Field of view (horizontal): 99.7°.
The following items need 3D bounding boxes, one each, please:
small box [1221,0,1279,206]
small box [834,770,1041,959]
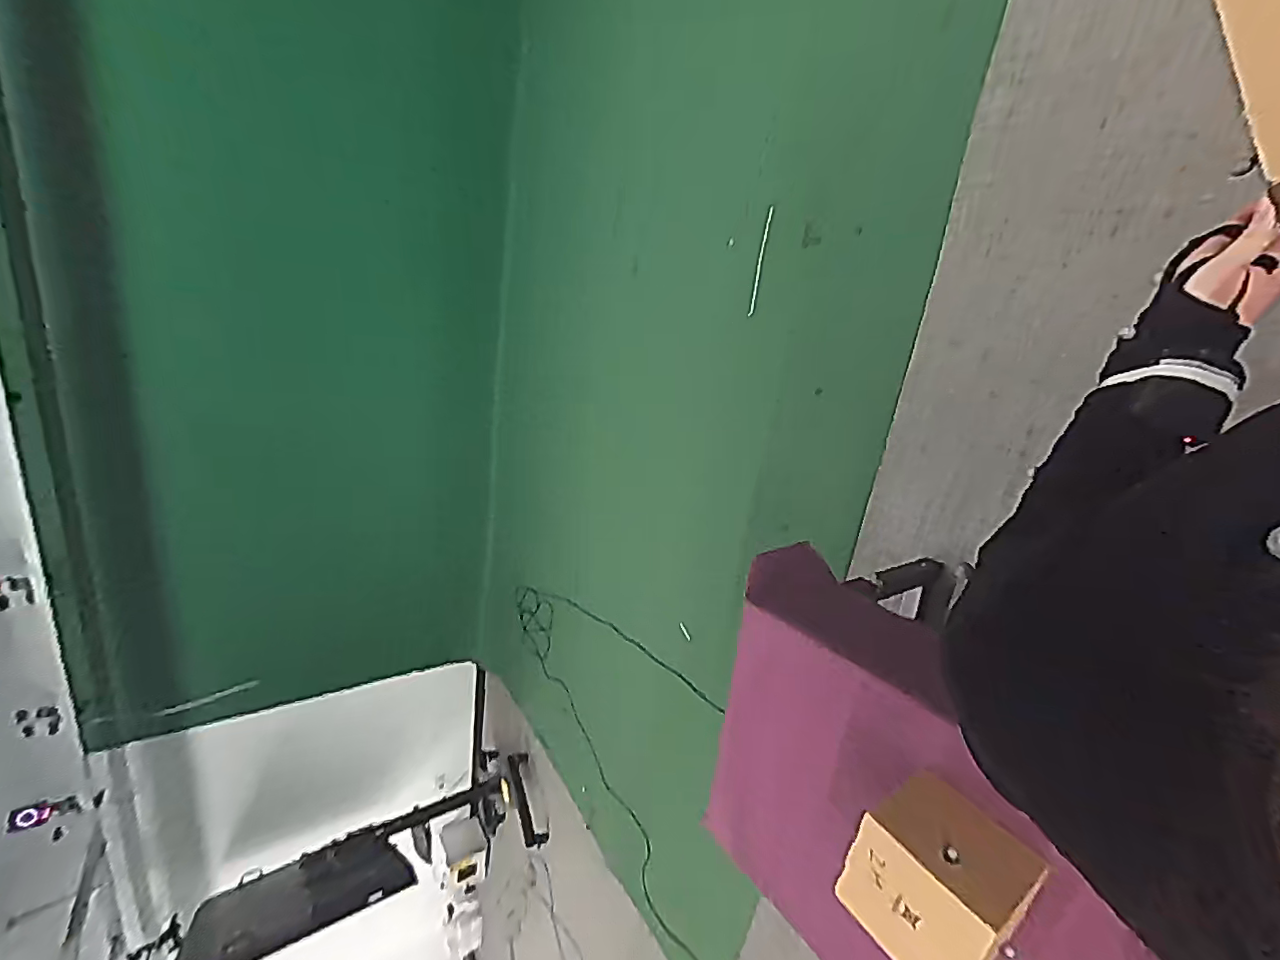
[{"bbox_3d":[0.493,-0.289,0.329,0.168,0.176,0.179,-13,82,54],"label":"small box"},{"bbox_3d":[0.414,0.551,0.759,0.179,0.176,0.168,34,120,49],"label":"small box"}]
